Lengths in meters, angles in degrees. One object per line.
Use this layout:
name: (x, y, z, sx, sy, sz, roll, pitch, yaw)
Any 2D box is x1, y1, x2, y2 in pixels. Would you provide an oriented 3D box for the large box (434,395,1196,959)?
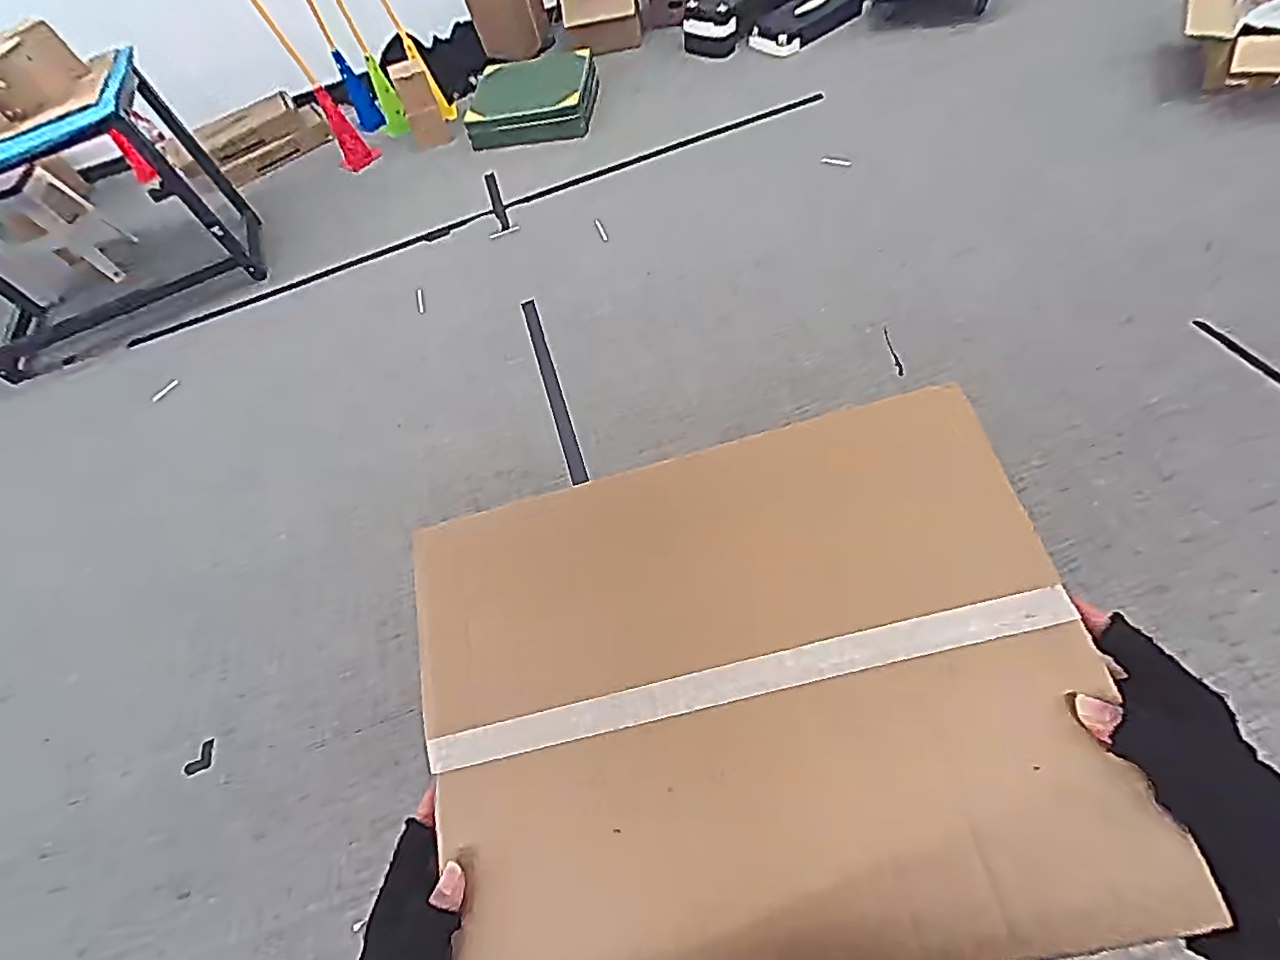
large box: (0.088, 0.181, 0.484, 0.408, 0.320, 0.320, -16, 70, 6)
